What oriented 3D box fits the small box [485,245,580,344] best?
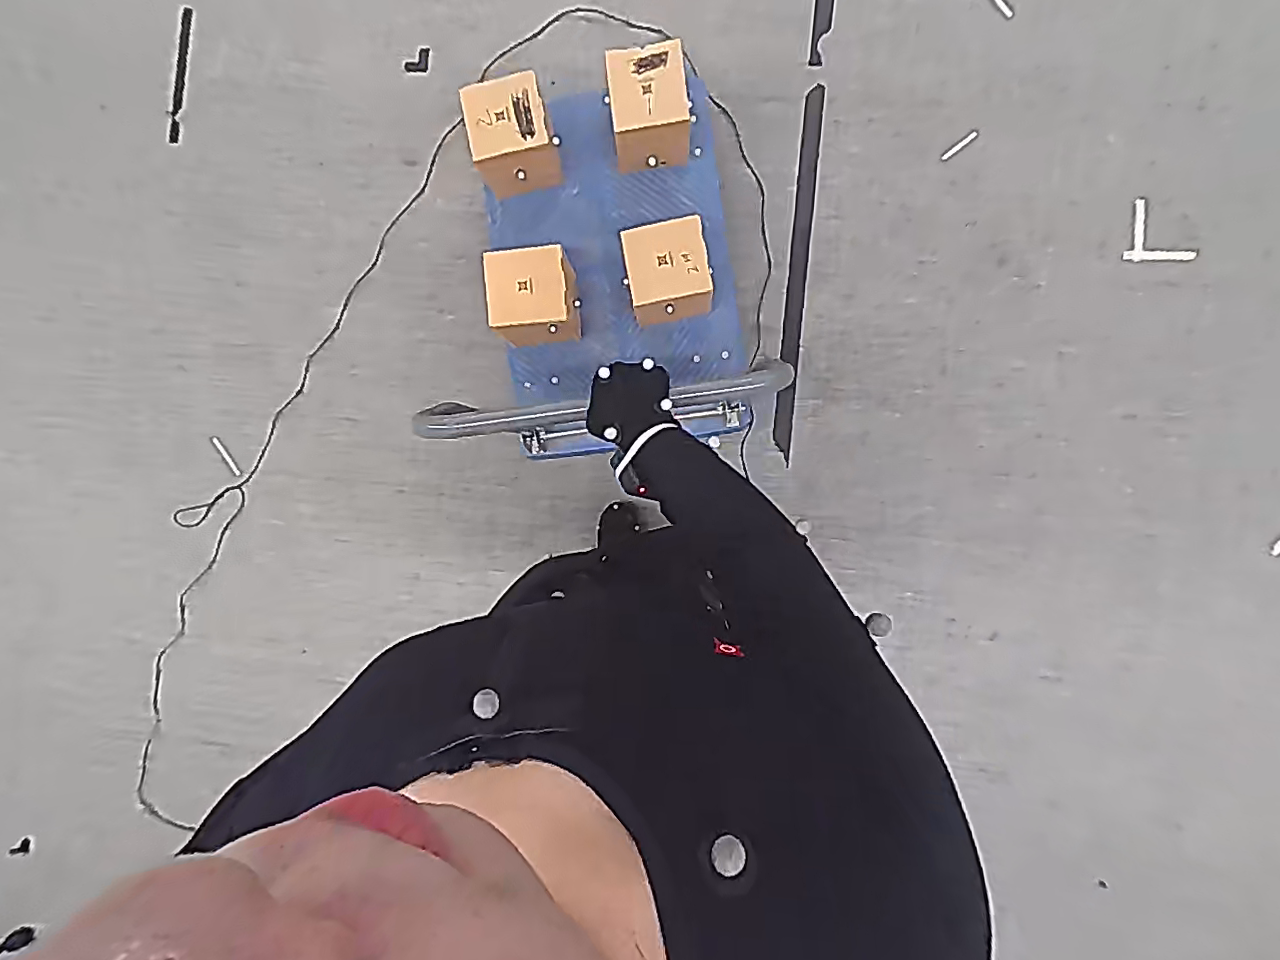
[{"bbox_3d":[-0.242,-0.420,1.251,0.179,0.176,0.168,-5,90,3],"label":"small box"}]

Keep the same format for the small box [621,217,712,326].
[{"bbox_3d":[0.064,-0.463,1.228,0.179,0.176,0.168,-10,90,4],"label":"small box"}]

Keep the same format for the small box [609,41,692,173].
[{"bbox_3d":[0.025,-0.836,1.227,0.168,0.176,0.179,-6,91,4],"label":"small box"}]
